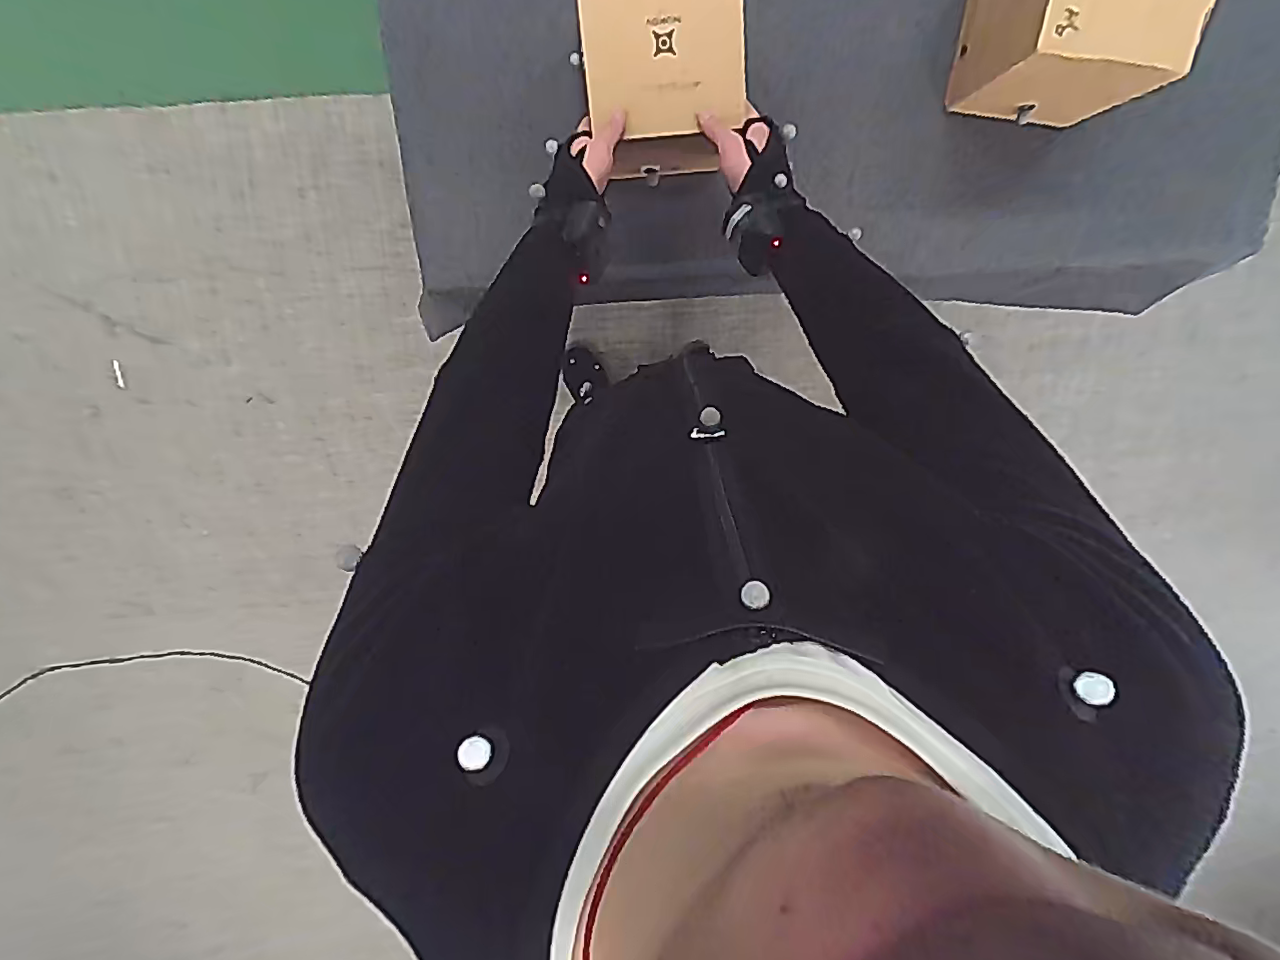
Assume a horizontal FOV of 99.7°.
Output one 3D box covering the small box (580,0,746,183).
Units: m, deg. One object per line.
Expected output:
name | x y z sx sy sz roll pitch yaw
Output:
small box | 0.021 -0.456 0.610 0.168 0.176 0.179 -4 107 0

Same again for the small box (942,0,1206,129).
small box | 0.498 -0.532 0.628 0.179 0.176 0.168 5 107 -5
